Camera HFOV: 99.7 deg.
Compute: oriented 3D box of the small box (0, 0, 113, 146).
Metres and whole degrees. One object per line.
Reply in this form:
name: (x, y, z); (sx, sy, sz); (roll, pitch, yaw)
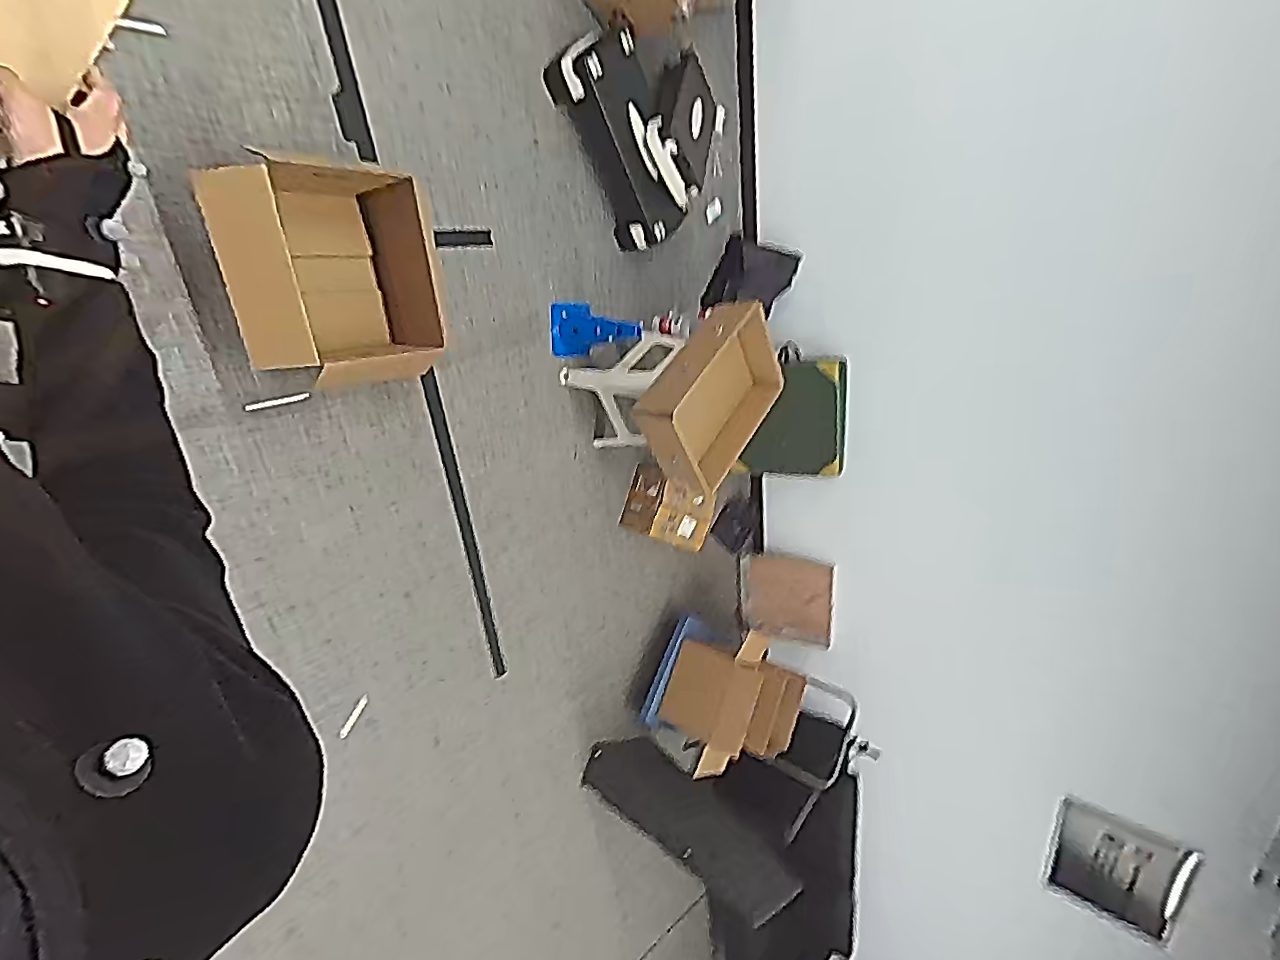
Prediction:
small box: (-0.560, -0.399, 0.418); (0.168, 0.176, 0.179); (31, 73, -58)
